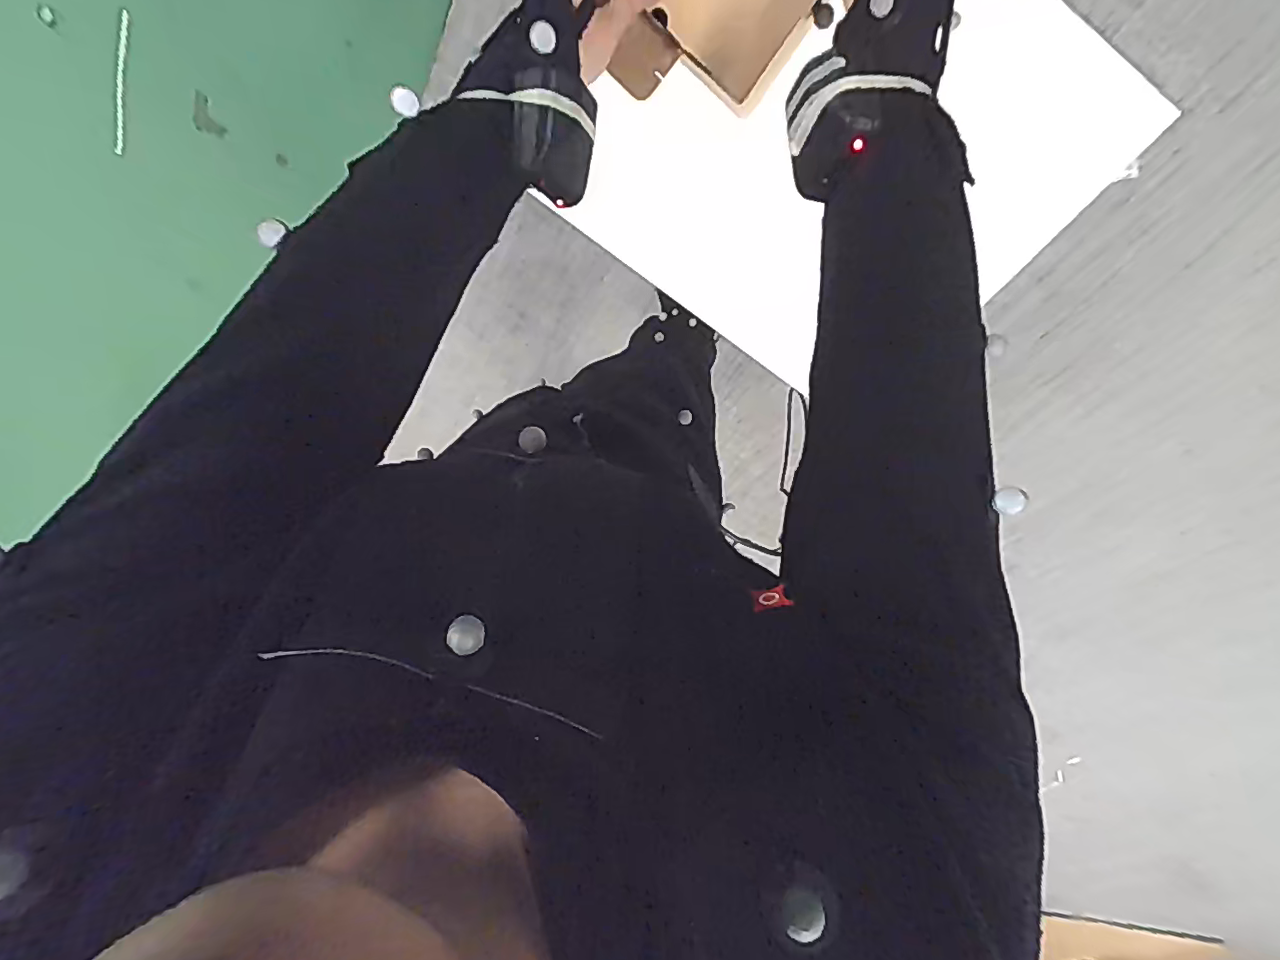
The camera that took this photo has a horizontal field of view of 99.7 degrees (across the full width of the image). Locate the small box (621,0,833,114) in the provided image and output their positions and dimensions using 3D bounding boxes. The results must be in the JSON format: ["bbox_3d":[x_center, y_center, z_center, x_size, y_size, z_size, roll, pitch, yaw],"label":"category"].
[{"bbox_3d":[0.079,-0.423,0.416,0.168,0.176,0.179,36,121,-11],"label":"small box"}]
